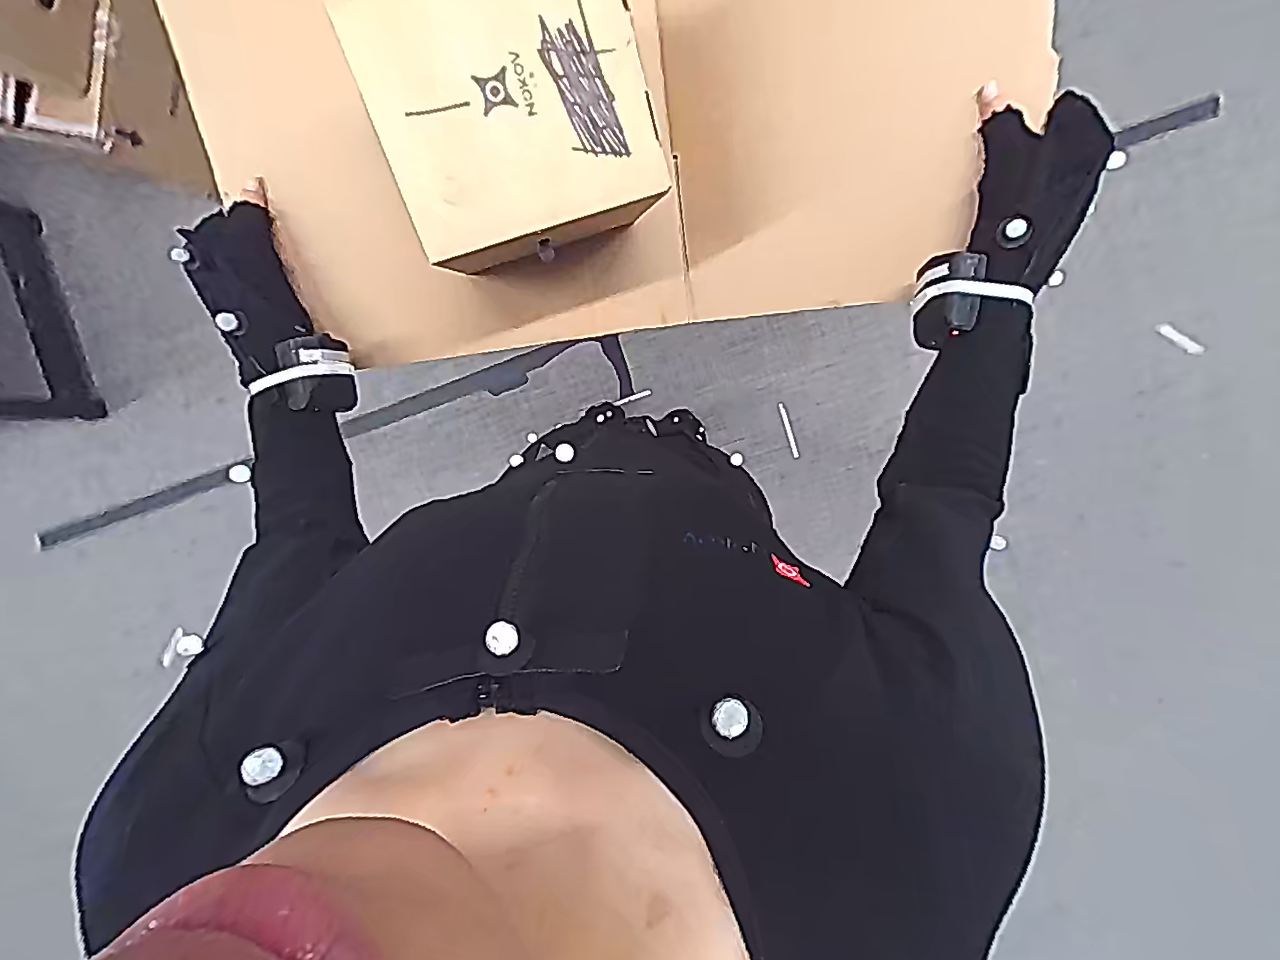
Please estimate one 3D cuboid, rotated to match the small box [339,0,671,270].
[{"bbox_3d":[-0.092,-0.274,0.427,0.179,0.176,0.168,-18,110,-3],"label":"small box"}]
